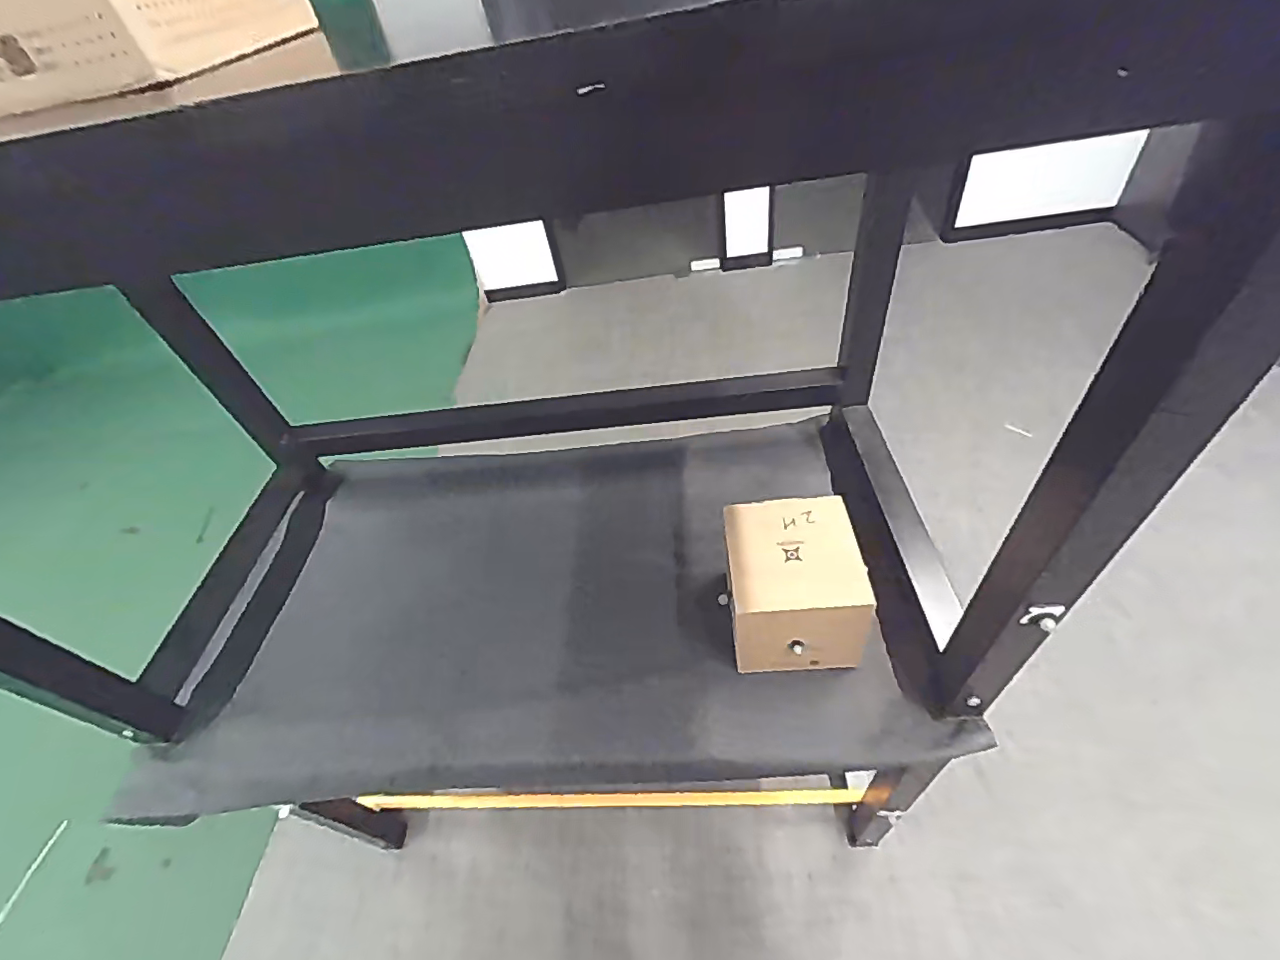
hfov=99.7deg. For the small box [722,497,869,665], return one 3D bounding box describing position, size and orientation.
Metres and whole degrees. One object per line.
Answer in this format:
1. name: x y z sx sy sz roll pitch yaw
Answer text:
1. small box: 0.207 0.148 0.760 0.168 0.176 0.179 -5 45 7
